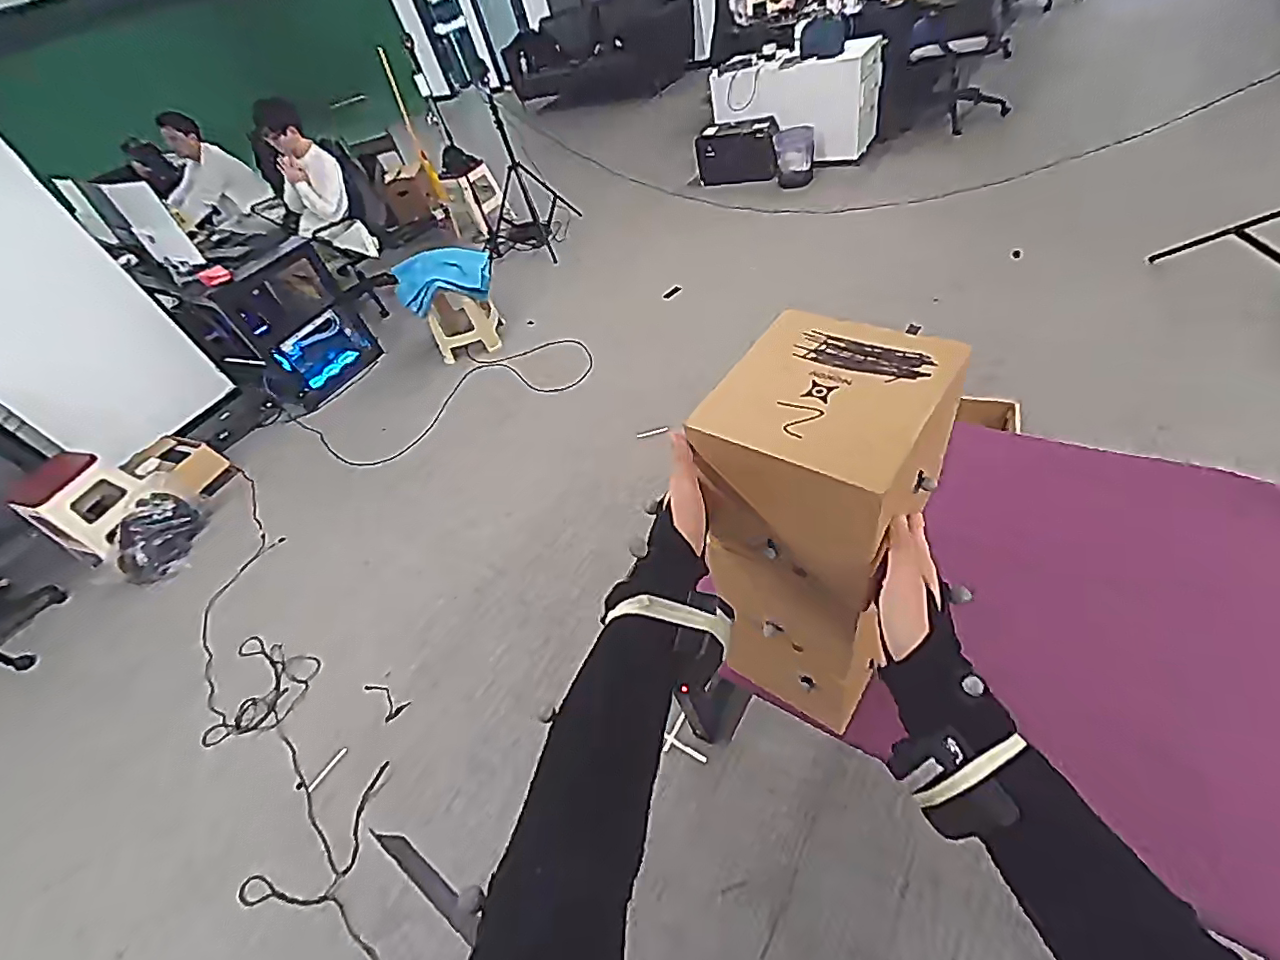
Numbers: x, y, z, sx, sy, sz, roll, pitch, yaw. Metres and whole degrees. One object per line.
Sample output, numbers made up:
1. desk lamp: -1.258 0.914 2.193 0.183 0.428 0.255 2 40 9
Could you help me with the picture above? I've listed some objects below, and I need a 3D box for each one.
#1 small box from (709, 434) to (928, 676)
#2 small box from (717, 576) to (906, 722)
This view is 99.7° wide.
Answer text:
1. small box: 0.198 0.083 0.612 0.168 0.176 0.179 22 59 33
2. small box: 0.229 0.196 0.727 0.179 0.176 0.168 23 58 34
